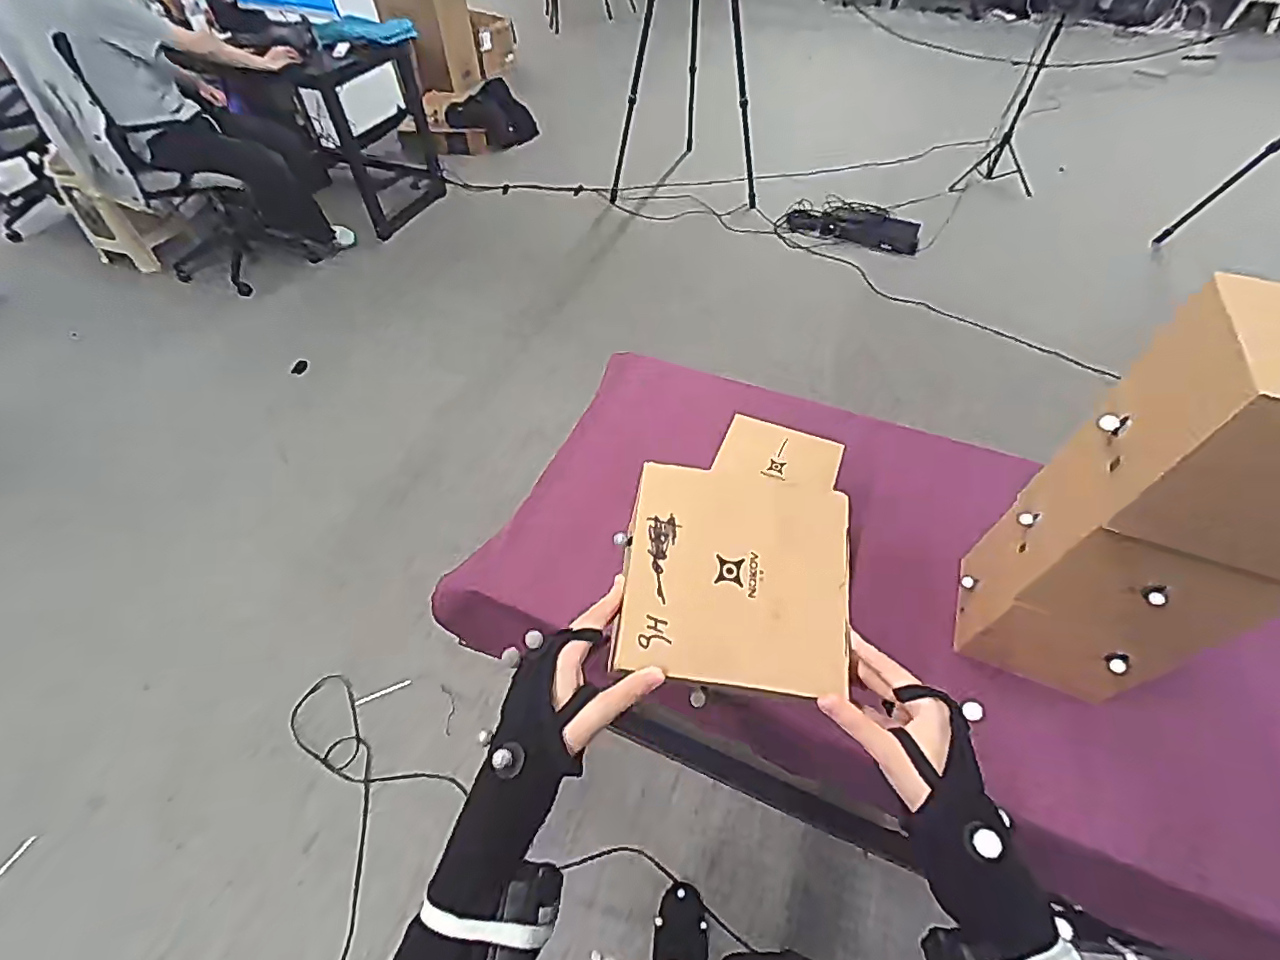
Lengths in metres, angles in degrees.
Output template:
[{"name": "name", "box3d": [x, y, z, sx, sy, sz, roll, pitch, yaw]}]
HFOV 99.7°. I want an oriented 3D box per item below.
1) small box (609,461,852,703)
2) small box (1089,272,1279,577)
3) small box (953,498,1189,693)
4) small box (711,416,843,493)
[{"name": "small box", "box3d": [0.072, 0.102, 0.493, 0.179, 0.176, 0.168, 10, 67, -1]}, {"name": "small box", "box3d": [0.525, -0.039, 0.449, 0.179, 0.176, 0.168, 19, 54, 15]}, {"name": "small box", "box3d": [0.548, 0.157, 0.711, 0.179, 0.176, 0.168, 19, 55, 15]}, {"name": "small box", "box3d": [0.186, 0.039, 0.812, 0.168, 0.176, 0.179, 18, 54, 14]}]
